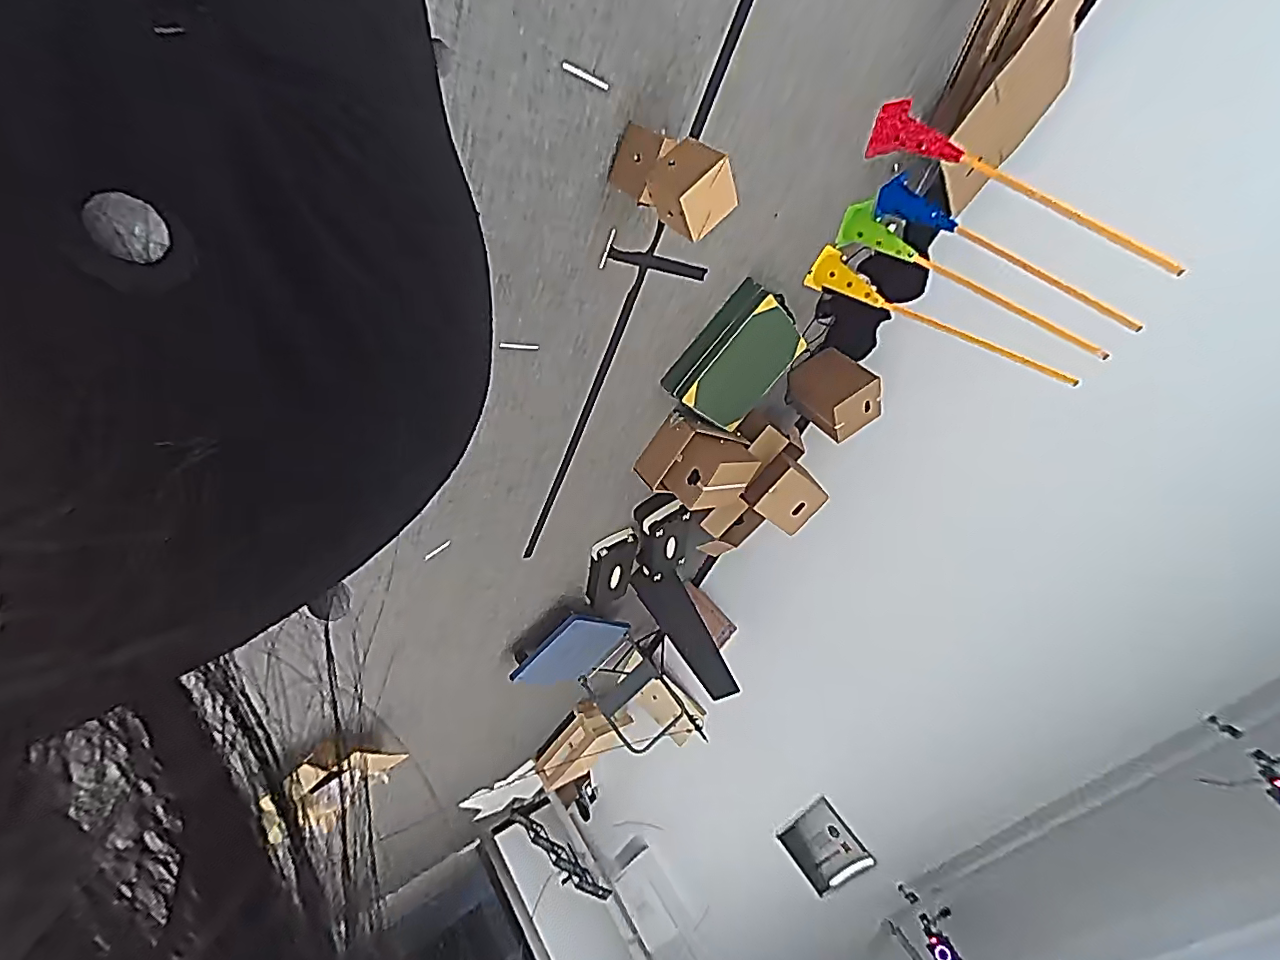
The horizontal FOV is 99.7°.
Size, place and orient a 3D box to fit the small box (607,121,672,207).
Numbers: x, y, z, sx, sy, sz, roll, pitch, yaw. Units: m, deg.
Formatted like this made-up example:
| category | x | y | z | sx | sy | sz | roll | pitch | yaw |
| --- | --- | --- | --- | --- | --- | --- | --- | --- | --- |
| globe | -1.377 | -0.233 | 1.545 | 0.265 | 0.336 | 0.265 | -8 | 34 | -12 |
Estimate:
| category | x | y | z | sx | sy | sz | roll | pitch | yaw |
| --- | --- | --- | --- | --- | --- | --- | --- | --- | --- |
| small box | 0.025 | -0.939 | 1.627 | 0.168 | 0.176 | 0.179 | -9 | 135 | -46 |

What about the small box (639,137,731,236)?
| category | x | y | z | sx | sy | sz | roll | pitch | yaw |
| --- | --- | --- | --- | --- | --- | --- | --- | --- | --- |
| small box | 0.133 | -0.833 | 1.553 | 0.179 | 0.176 | 0.168 | -44 | 151 | 0 |
